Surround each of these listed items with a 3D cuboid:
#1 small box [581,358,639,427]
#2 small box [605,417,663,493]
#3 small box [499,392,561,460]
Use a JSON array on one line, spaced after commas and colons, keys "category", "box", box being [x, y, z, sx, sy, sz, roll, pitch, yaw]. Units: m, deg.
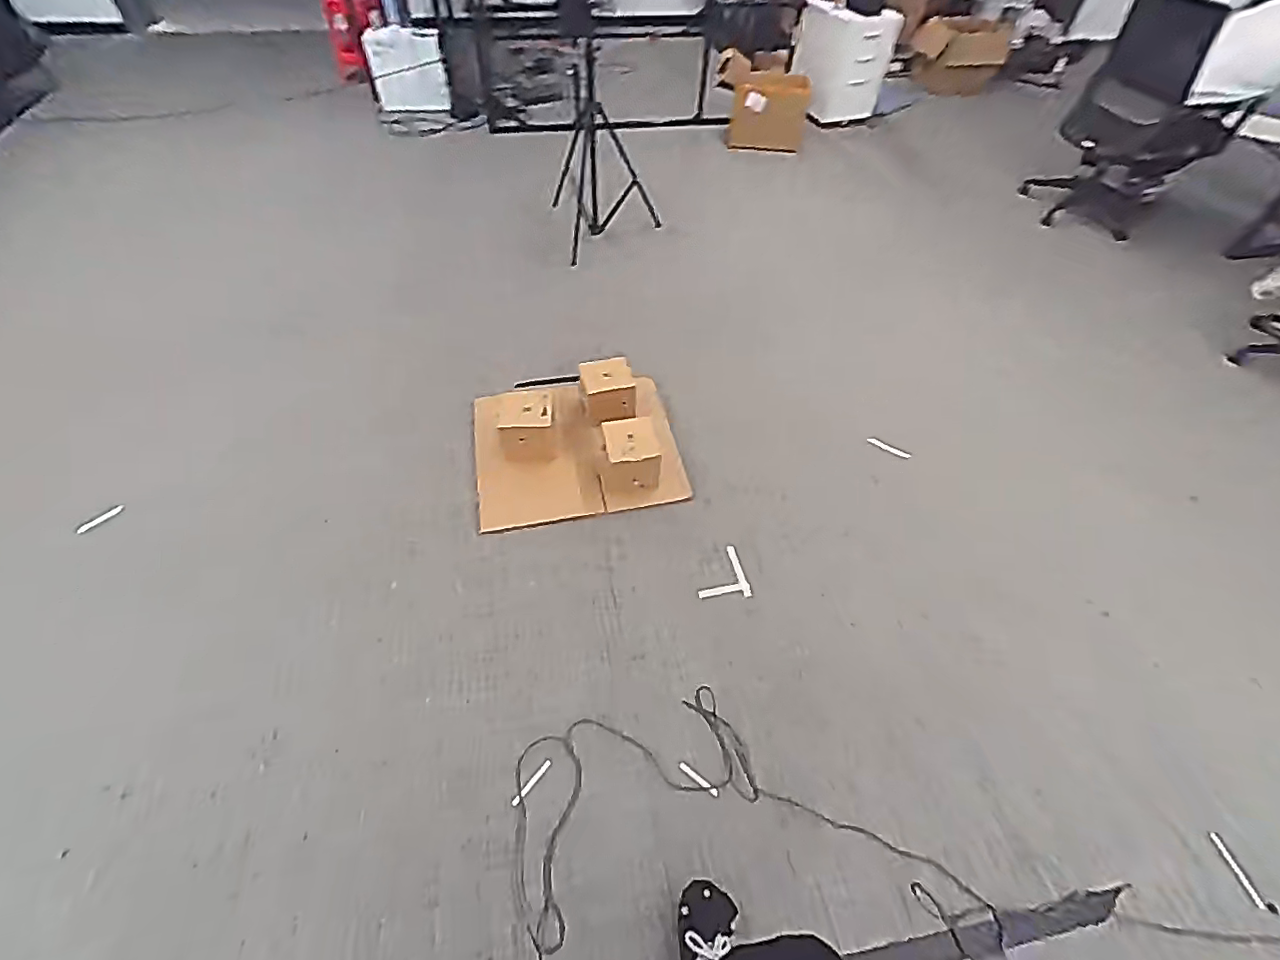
[{"category": "small box", "box": [-0.111, -0.317, 1.965, 0.179, 0.176, 0.168, -12, 53, -11]}, {"category": "small box", "box": [-0.024, -0.081, 1.786, 0.168, 0.176, 0.179, -9, 54, -8]}, {"category": "small box", "box": [-0.371, -0.182, 1.848, 0.179, 0.176, 0.168, -2, 53, -2]}]
